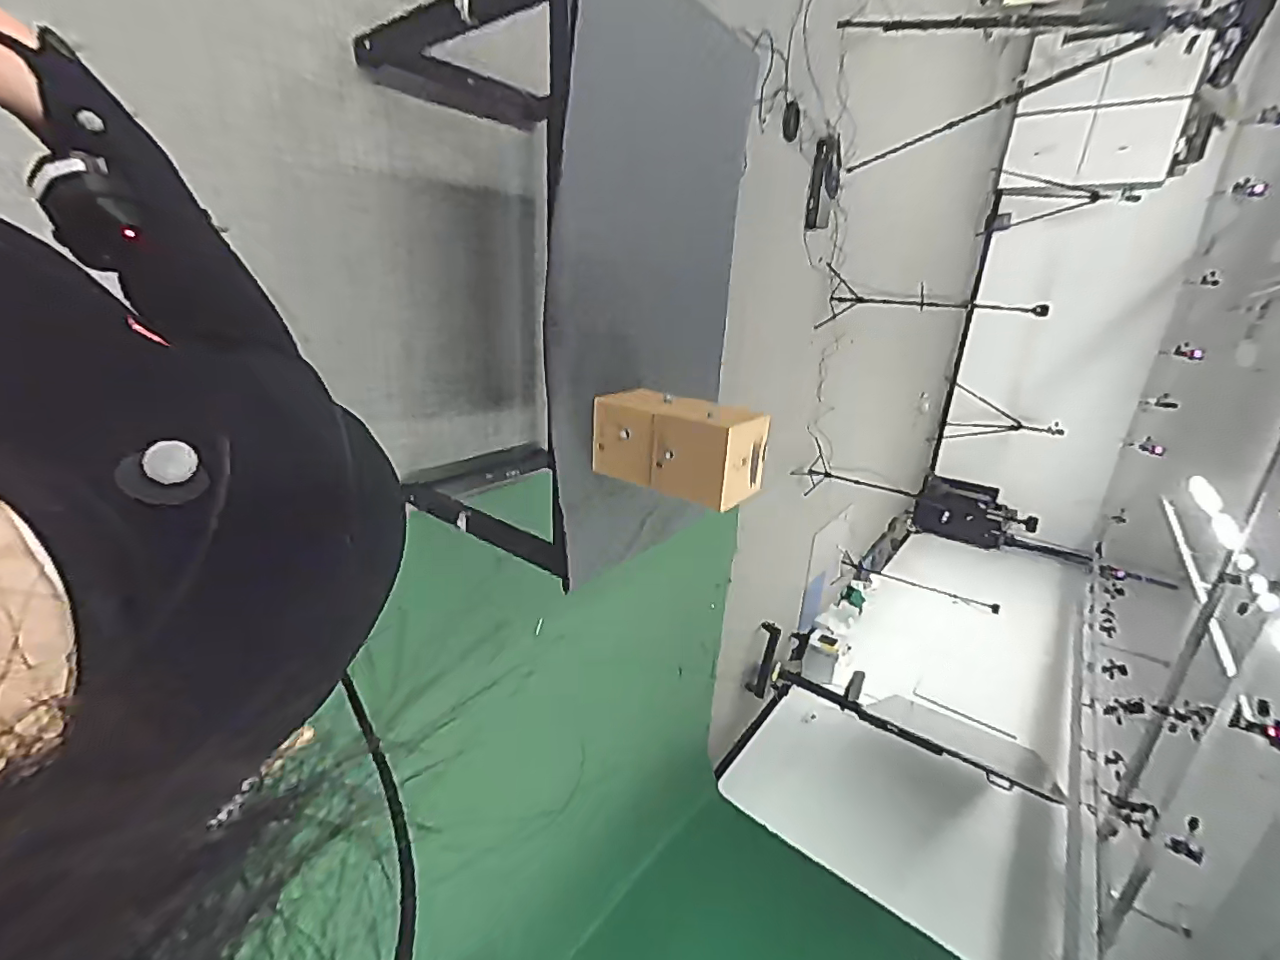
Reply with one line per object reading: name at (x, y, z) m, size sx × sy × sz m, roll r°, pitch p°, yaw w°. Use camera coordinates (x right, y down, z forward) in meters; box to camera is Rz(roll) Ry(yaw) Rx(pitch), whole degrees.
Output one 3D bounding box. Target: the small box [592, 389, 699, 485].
small box at (0.010, -0.101, 1.184) m, size 0.179 × 0.176 × 0.168 m, roll -22°, pitch 122°, yaw -50°
